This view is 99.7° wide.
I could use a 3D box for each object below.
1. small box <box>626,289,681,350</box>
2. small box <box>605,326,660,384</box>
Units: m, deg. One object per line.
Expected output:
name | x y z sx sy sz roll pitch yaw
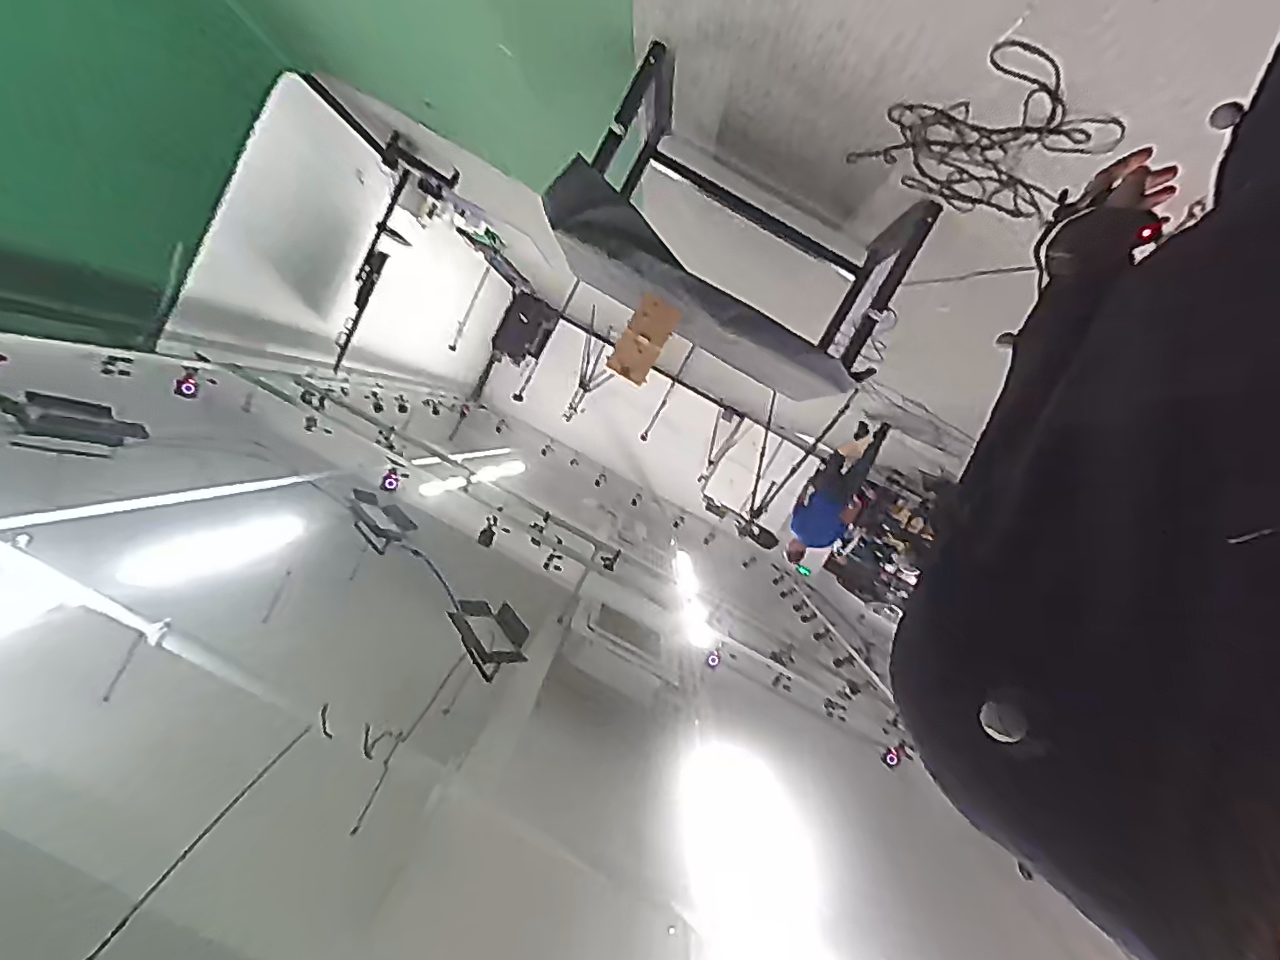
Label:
small box | 0.052 -0.643 2.169 0.168 0.176 0.179 30 -173 -5
small box | -0.031 -0.507 2.202 0.168 0.176 0.179 30 -175 -6
